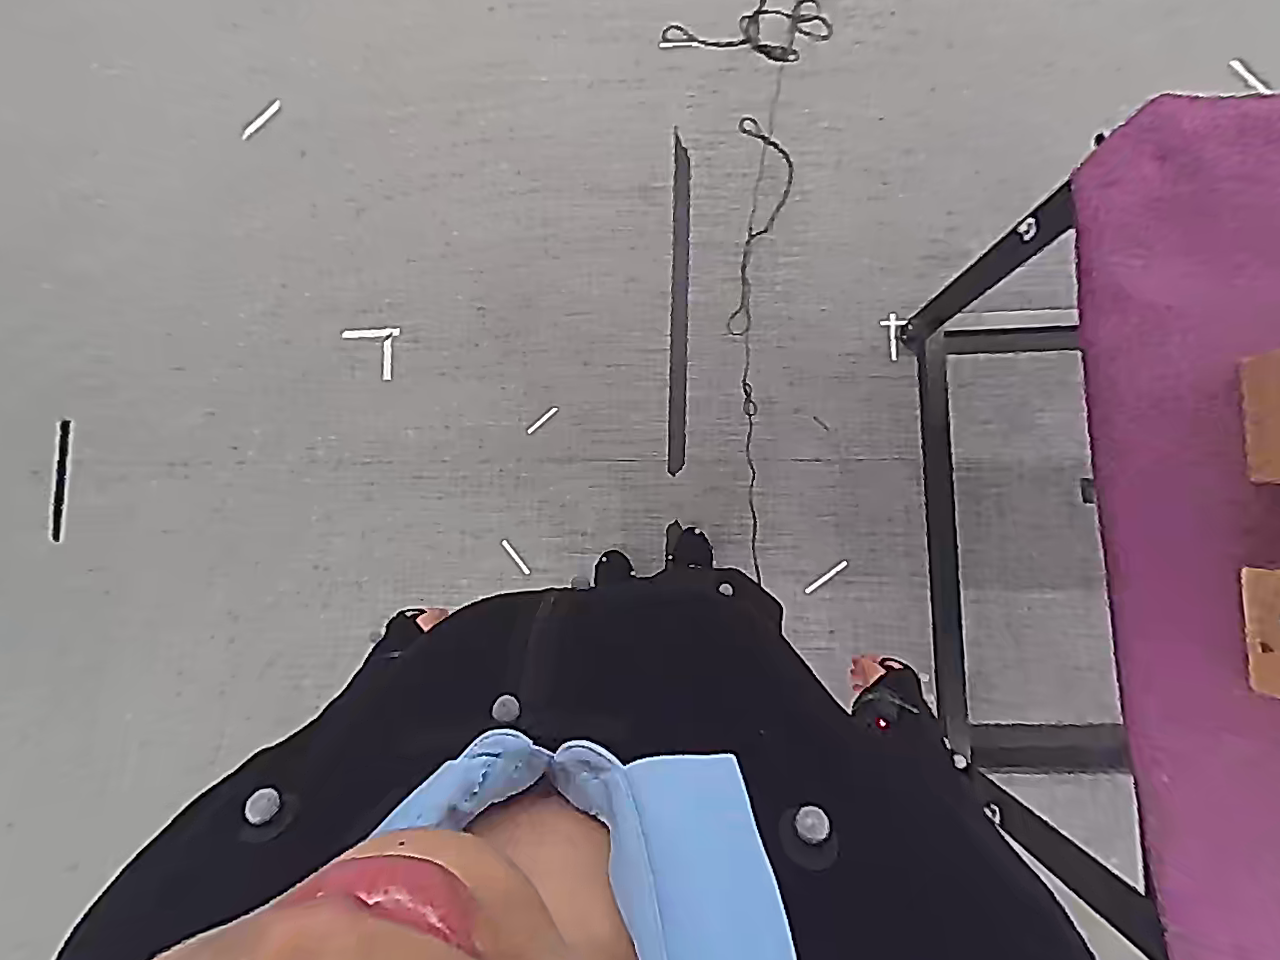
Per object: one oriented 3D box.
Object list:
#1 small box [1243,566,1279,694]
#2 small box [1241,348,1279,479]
[{"bbox_3d":[0.898,0.191,0.644,0.179,0.176,0.168,1,85,2],"label":"small box"},{"bbox_3d":[0.915,-0.089,0.667,0.168,0.176,0.179,1,85,2],"label":"small box"}]
